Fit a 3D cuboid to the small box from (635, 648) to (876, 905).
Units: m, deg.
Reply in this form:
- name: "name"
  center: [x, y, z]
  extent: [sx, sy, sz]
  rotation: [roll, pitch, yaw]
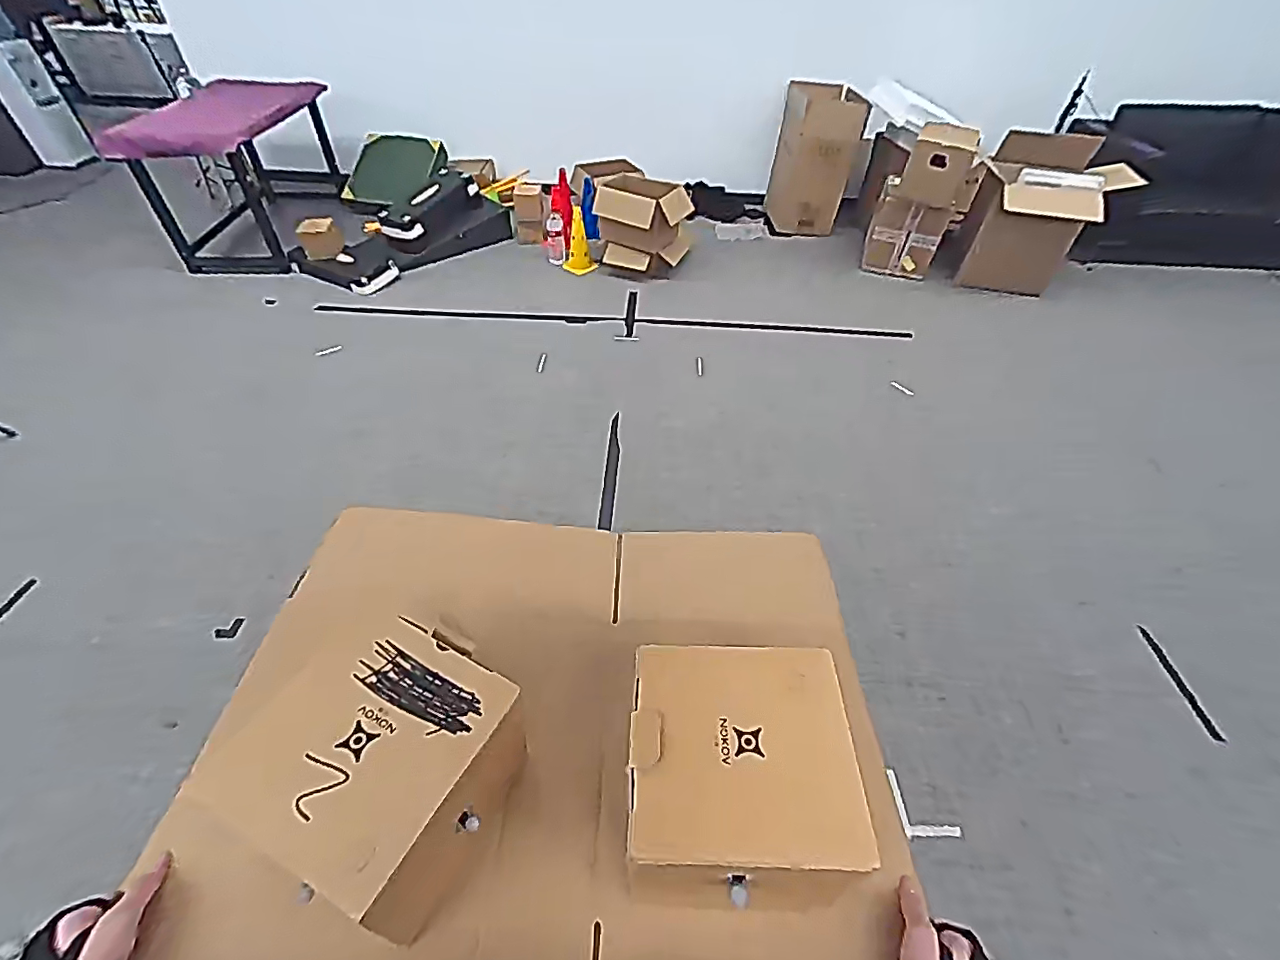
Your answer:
- name: "small box"
  center: [0.088, 0.273, 0.498]
  extent: [0.179, 0.176, 0.168]
  rotation: [0, 43, 3]
